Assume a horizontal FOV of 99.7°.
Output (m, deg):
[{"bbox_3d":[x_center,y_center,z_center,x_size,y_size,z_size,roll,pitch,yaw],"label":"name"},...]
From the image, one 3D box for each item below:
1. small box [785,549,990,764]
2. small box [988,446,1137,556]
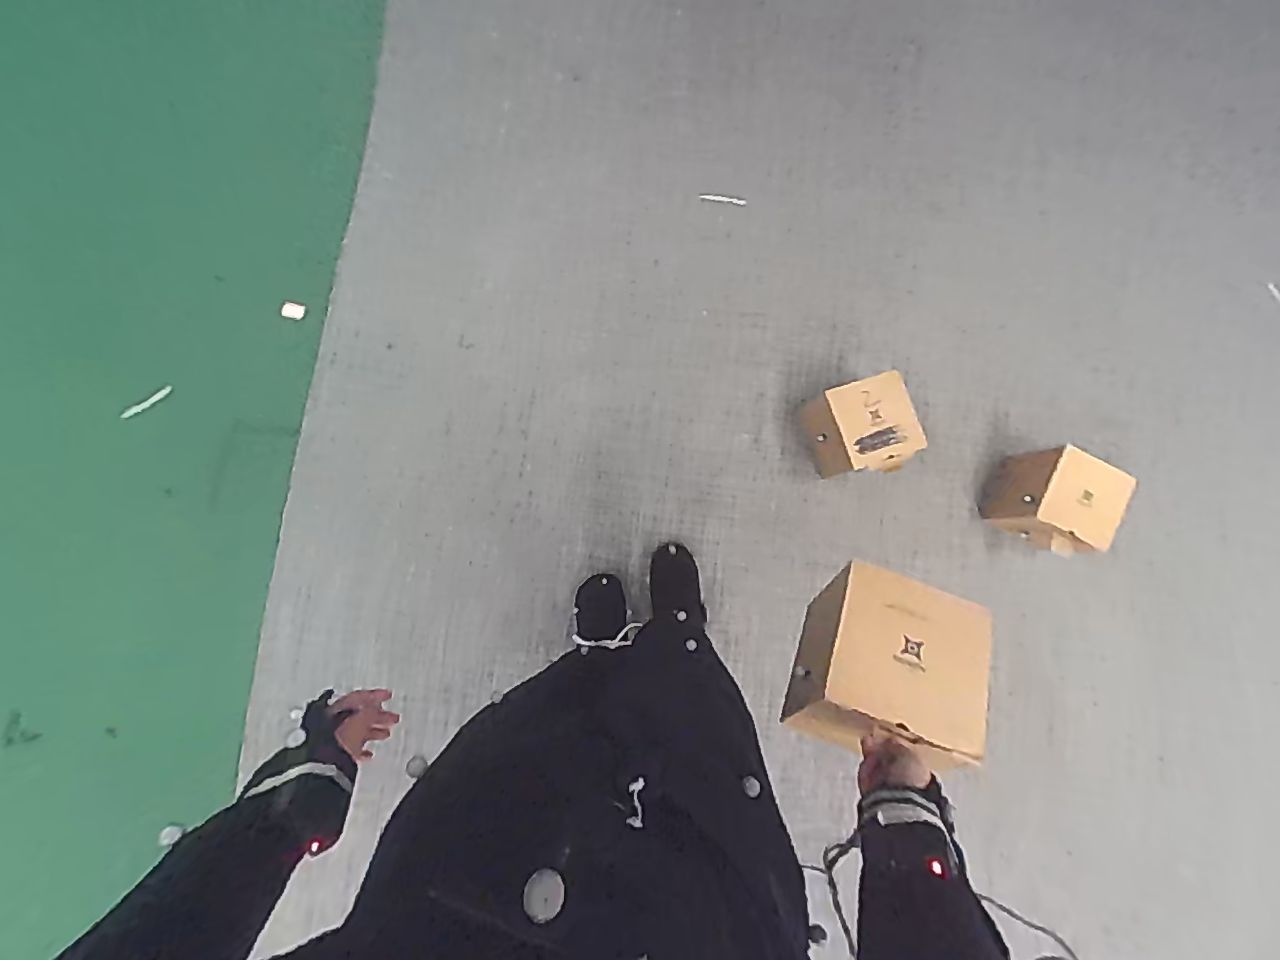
[{"bbox_3d":[0.287,0.218,0.652,0.168,0.176,0.179,20,57,8],"label":"small box"},{"bbox_3d":[0.912,0.048,1.184,0.168,0.176,0.179,28,84,0],"label":"small box"}]
